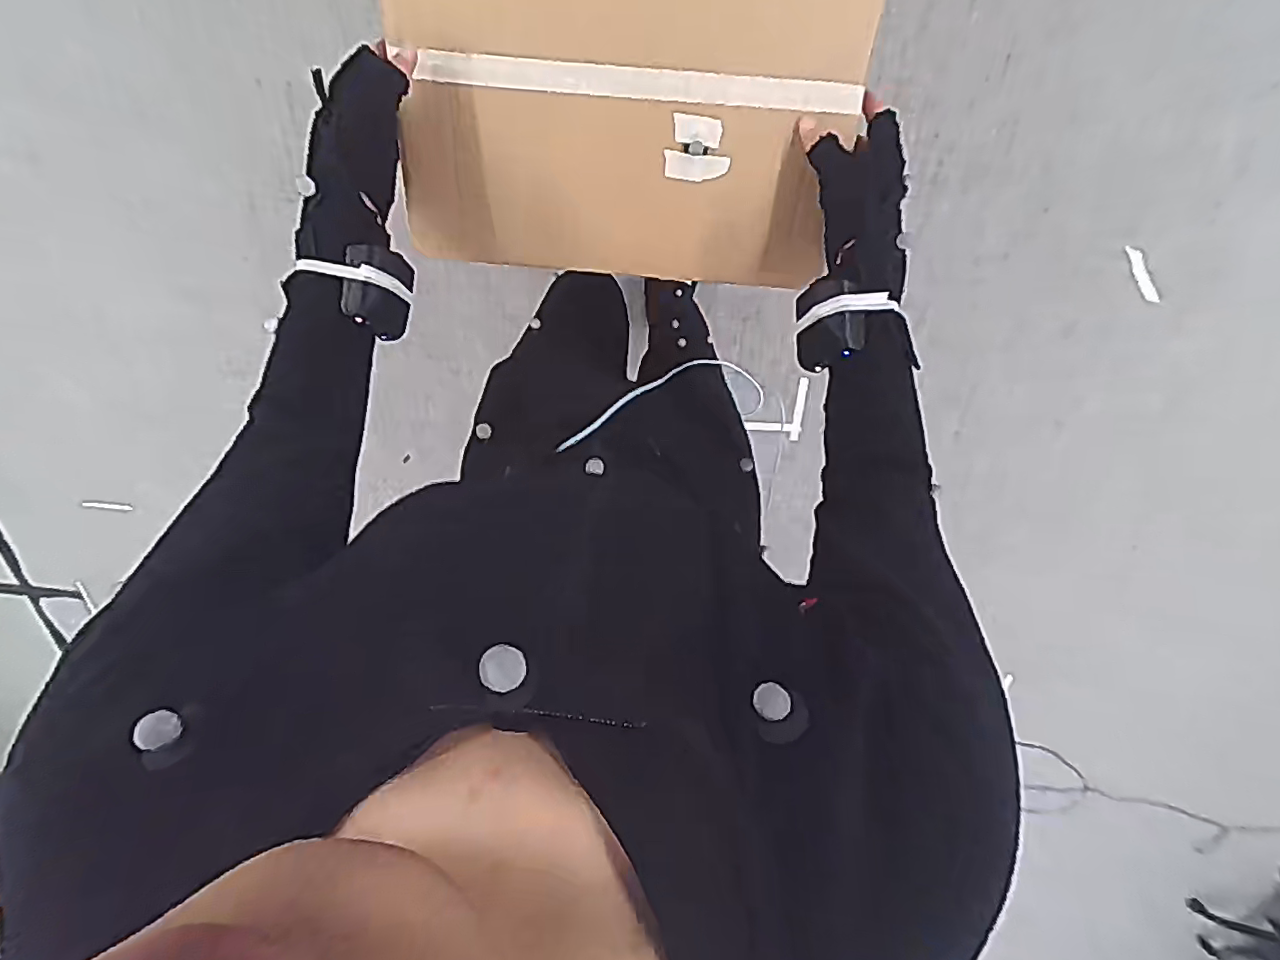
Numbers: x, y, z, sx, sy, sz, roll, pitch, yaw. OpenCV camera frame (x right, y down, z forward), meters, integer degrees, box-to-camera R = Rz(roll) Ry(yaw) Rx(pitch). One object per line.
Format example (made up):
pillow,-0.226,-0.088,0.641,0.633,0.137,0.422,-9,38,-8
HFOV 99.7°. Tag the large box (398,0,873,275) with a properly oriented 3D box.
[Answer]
large box,-0.007,-0.431,0.605,0.408,0.320,0.320,5,122,-1
